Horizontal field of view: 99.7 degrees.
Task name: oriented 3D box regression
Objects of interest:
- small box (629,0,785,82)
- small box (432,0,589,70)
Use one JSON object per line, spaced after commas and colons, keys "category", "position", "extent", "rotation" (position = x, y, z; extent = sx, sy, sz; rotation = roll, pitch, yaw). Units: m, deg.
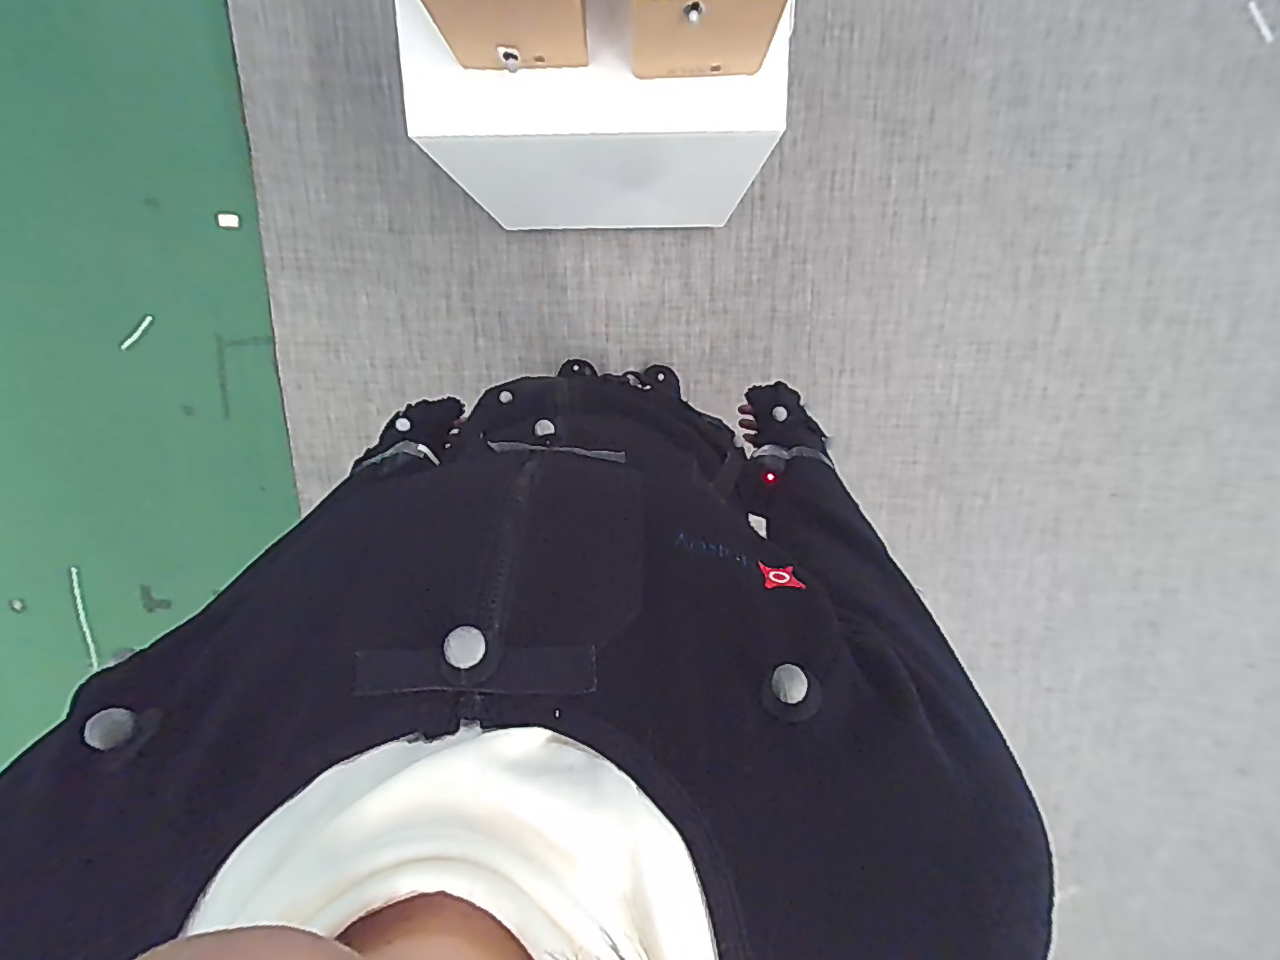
{"category": "small box", "position": [0.070, -0.596, 0.616], "extent": [0.168, 0.176, 0.179], "rotation": [-1, 101, 0]}
{"category": "small box", "position": [-0.150, -0.602, 0.603], "extent": [0.168, 0.176, 0.179], "rotation": [-3, 103, 1]}
